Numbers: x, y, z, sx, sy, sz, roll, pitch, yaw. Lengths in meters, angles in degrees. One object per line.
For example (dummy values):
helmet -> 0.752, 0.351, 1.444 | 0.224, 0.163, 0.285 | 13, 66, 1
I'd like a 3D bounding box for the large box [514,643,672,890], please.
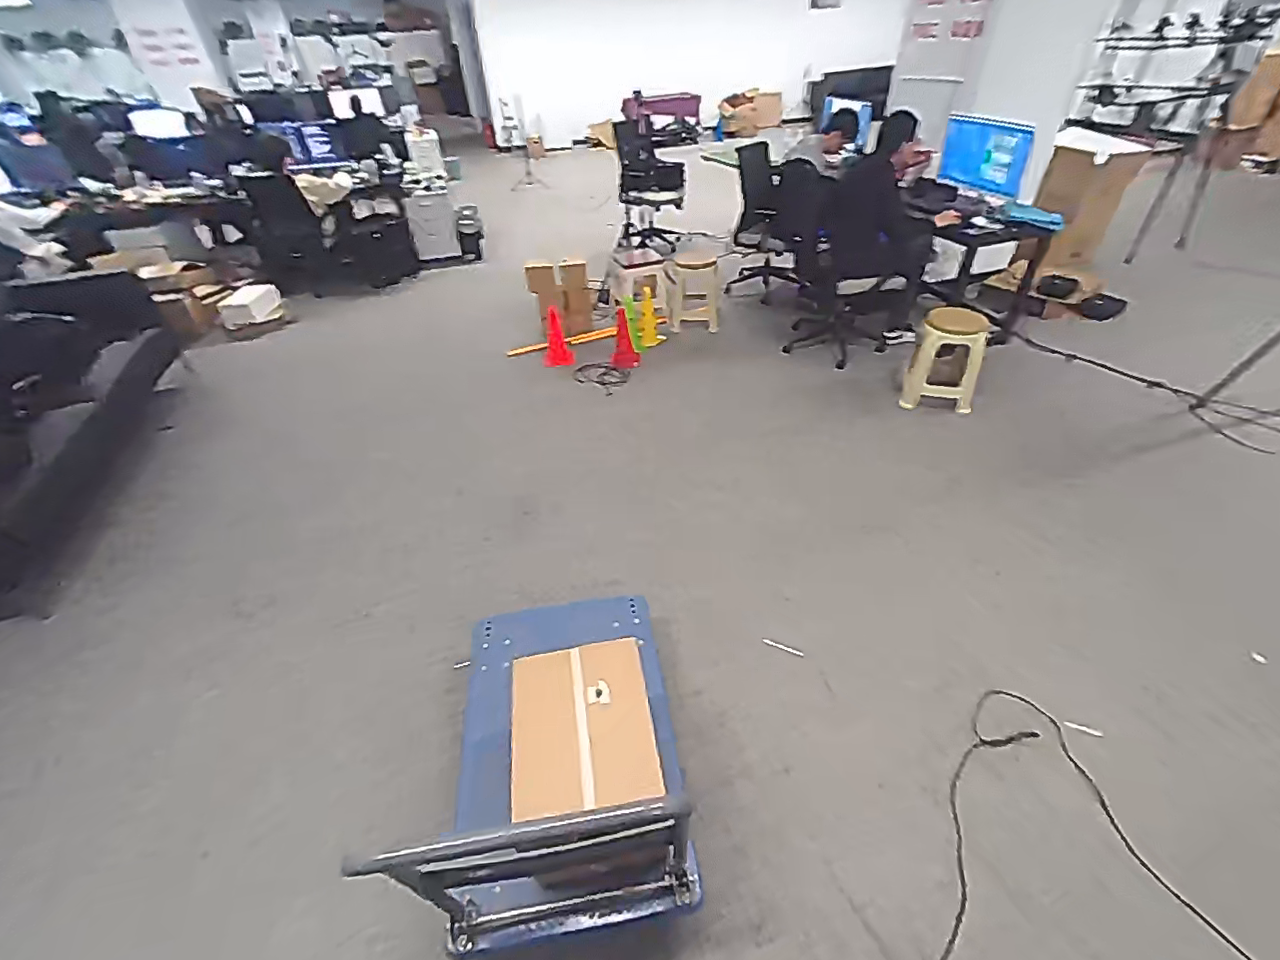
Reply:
large box -> -0.116, 0.673, 1.295 | 0.320, 0.320, 0.408 | -8, 39, -6
